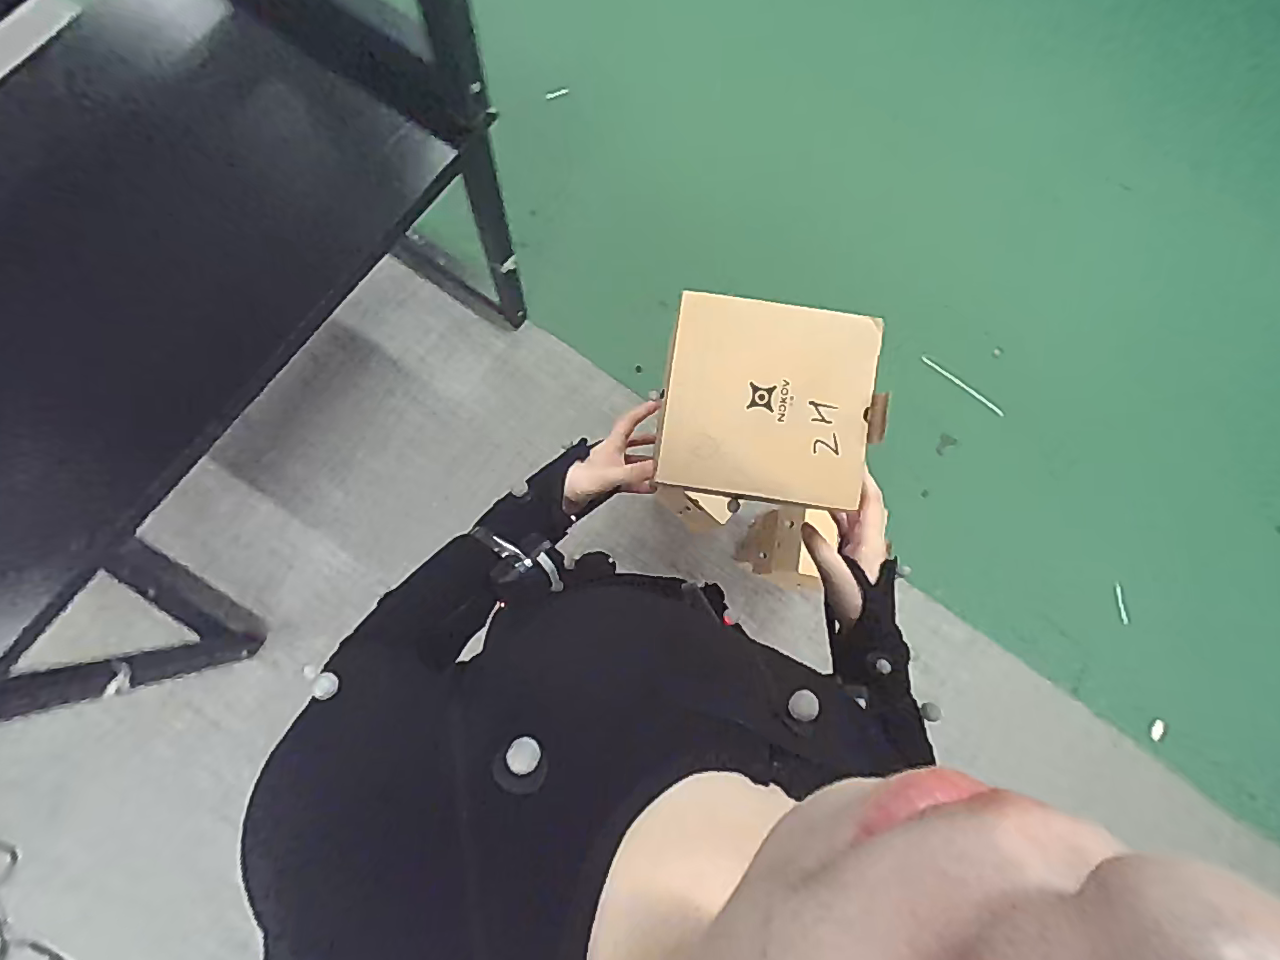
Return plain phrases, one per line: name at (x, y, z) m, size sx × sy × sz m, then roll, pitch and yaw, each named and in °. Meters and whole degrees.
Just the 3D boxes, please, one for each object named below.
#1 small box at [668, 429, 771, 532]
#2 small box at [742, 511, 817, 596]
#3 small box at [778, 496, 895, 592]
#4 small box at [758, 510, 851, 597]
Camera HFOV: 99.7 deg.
small box at (0.183, 0.010, 1.316) m, size 0.168 × 0.176 × 0.179 m, roll 41°, pitch 79°, yaw 3°
small box at (0.401, 0.203, 1.472) m, size 0.179 × 0.176 × 0.168 m, roll 28°, pitch 79°, yaw -1°
small box at (0.409, 0.140, 1.152) m, size 0.179 × 0.176 × 0.168 m, roll 11°, pitch 80°, yaw -4°
small box at (0.404, 0.180, 1.311) m, size 0.179 × 0.176 × 0.168 m, roll 16°, pitch 81°, yaw -3°
